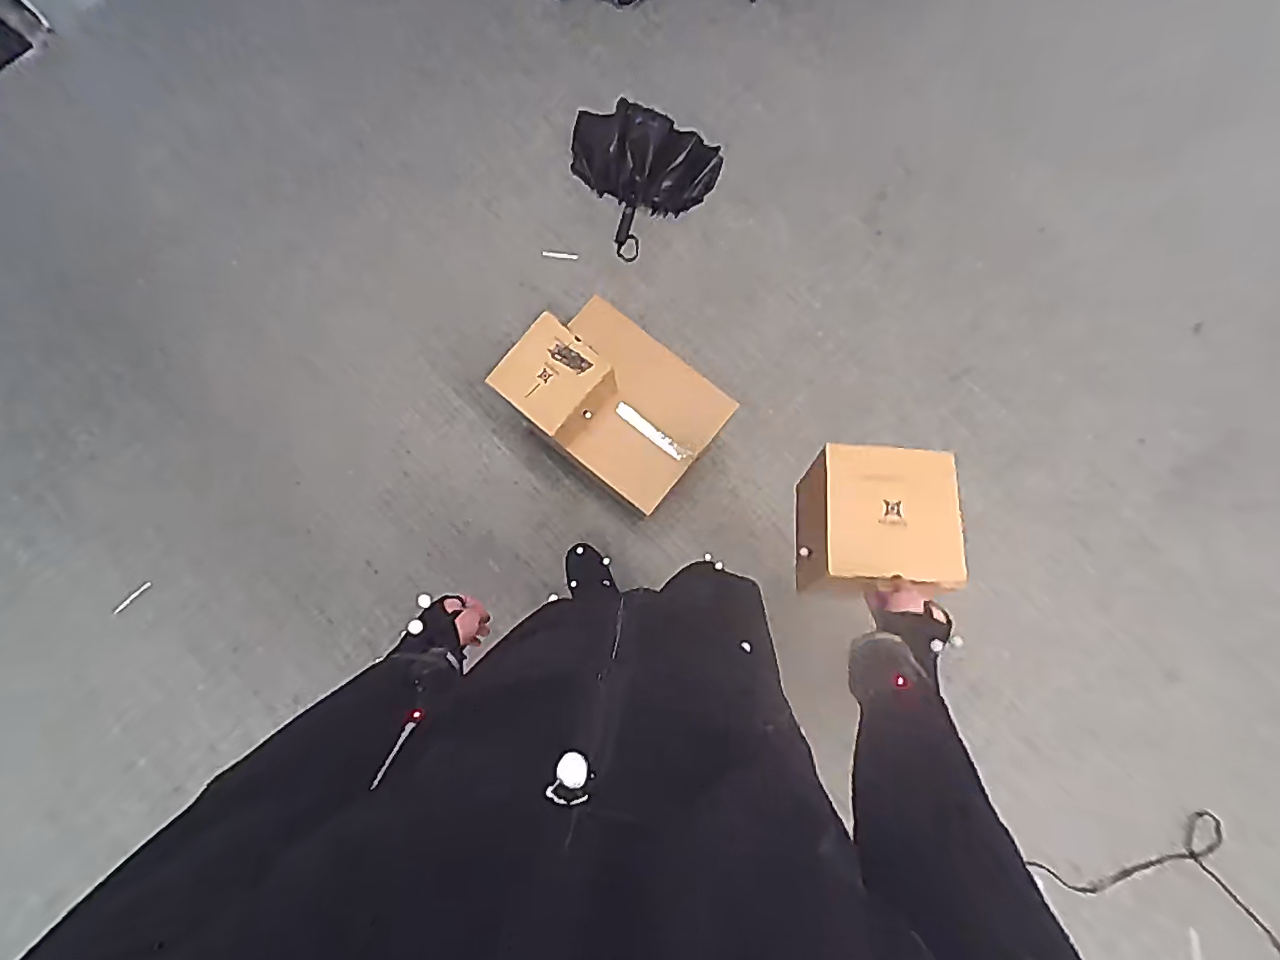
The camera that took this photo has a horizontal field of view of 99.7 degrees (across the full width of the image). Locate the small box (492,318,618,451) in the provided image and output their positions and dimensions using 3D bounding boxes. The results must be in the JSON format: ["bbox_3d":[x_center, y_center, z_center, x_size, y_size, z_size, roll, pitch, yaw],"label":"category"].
[{"bbox_3d":[-0.157,-0.179,1.073,0.168,0.176,0.179,40,88,4],"label":"small box"}]

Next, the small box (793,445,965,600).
[{"bbox_3d":[0.314,0.067,0.749,0.168,0.176,0.179,3,69,3],"label":"small box"}]
